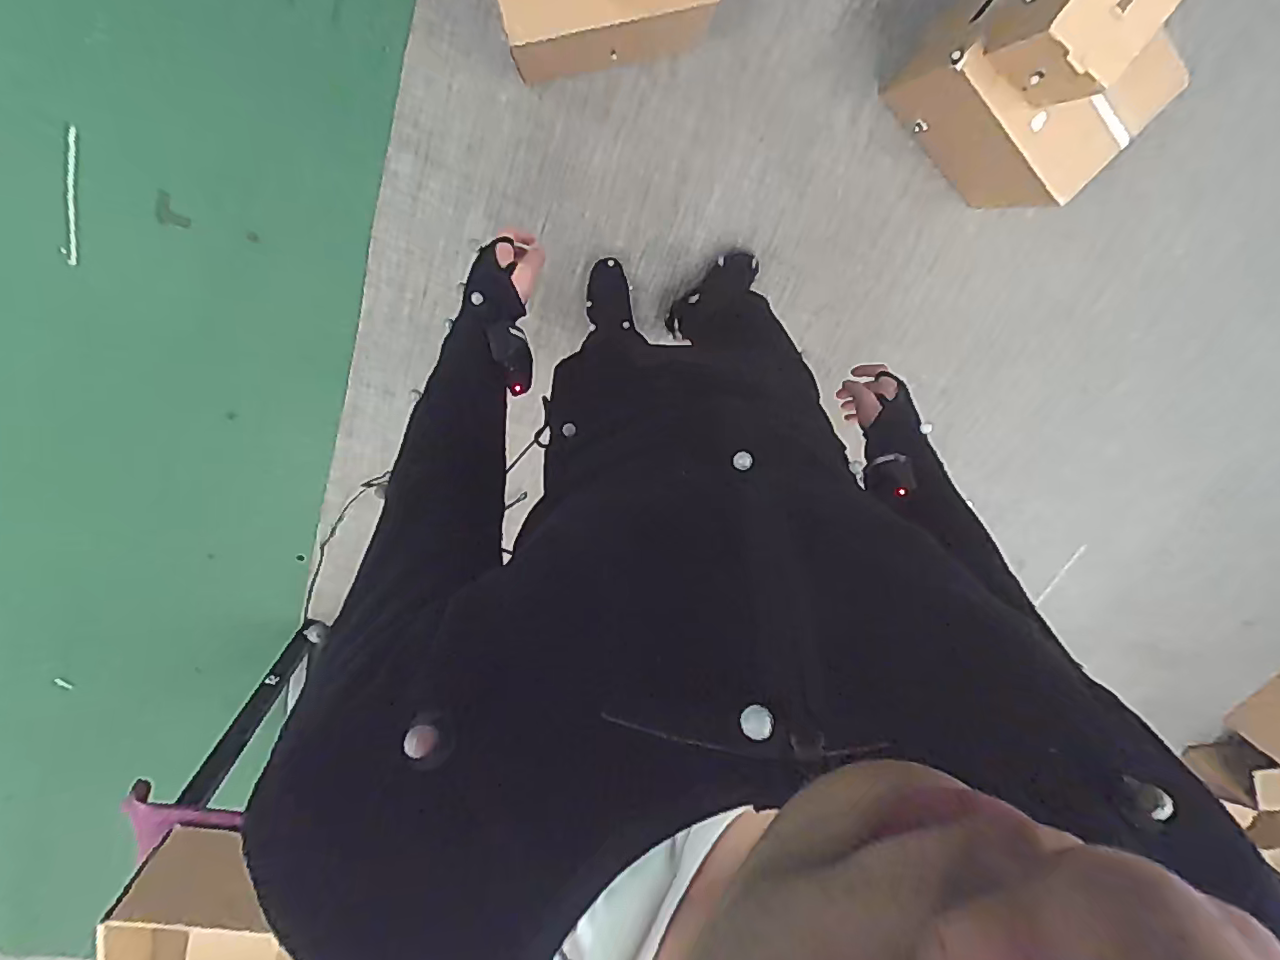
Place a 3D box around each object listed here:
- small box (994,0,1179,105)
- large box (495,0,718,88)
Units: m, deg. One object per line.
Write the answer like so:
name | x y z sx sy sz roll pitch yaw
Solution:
small box | 0.778 -0.812 0.962 0.168 0.176 0.179 28 111 -17
large box | -0.087 -1.024 1.057 0.408 0.320 0.320 -12 114 1
